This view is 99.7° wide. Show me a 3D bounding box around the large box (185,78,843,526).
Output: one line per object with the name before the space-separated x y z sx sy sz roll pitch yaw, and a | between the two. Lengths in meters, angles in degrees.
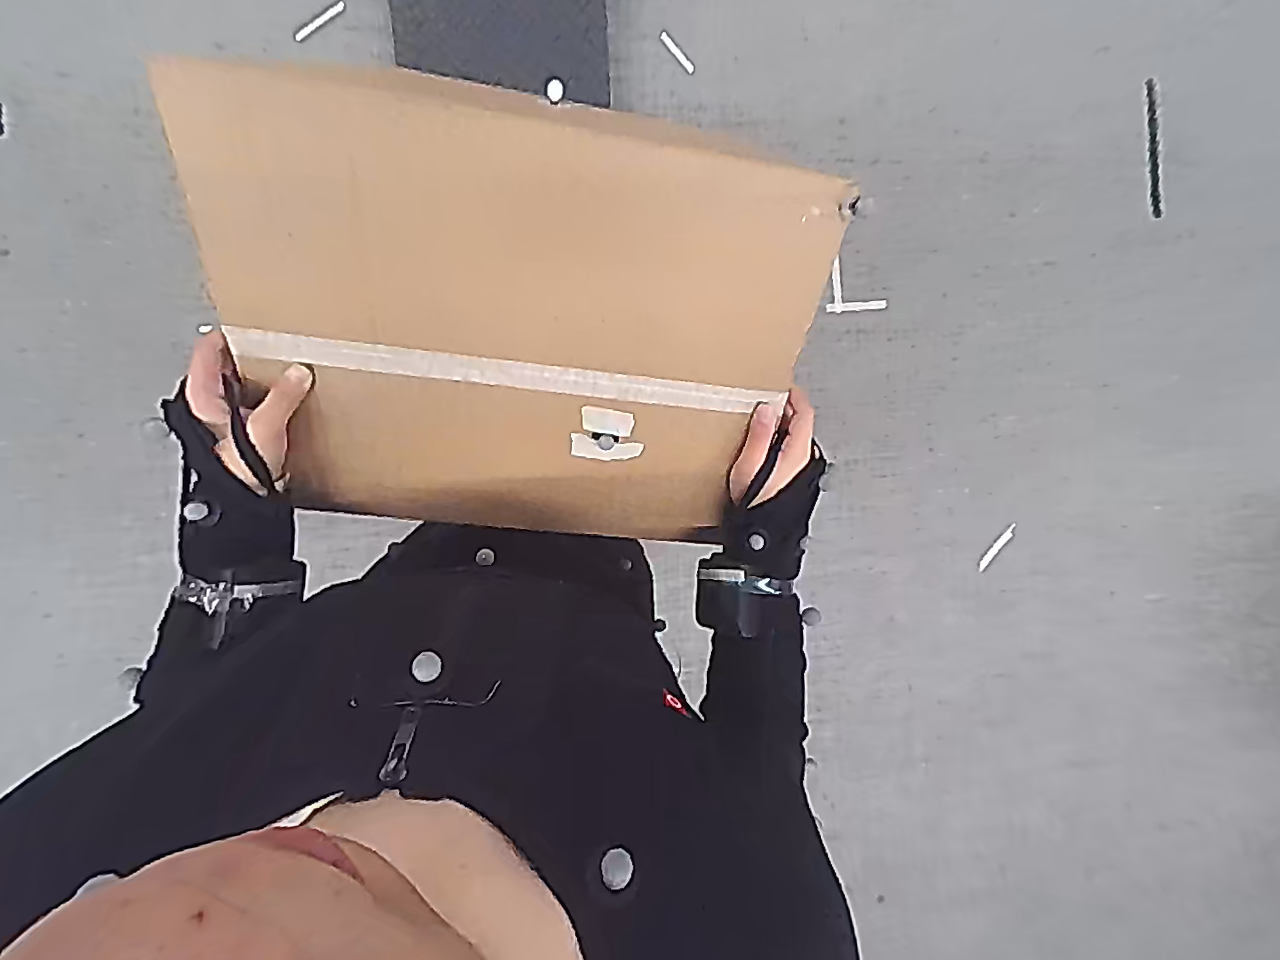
large box | -0.093 -0.178 0.533 0.408 0.320 0.320 4 128 -8
